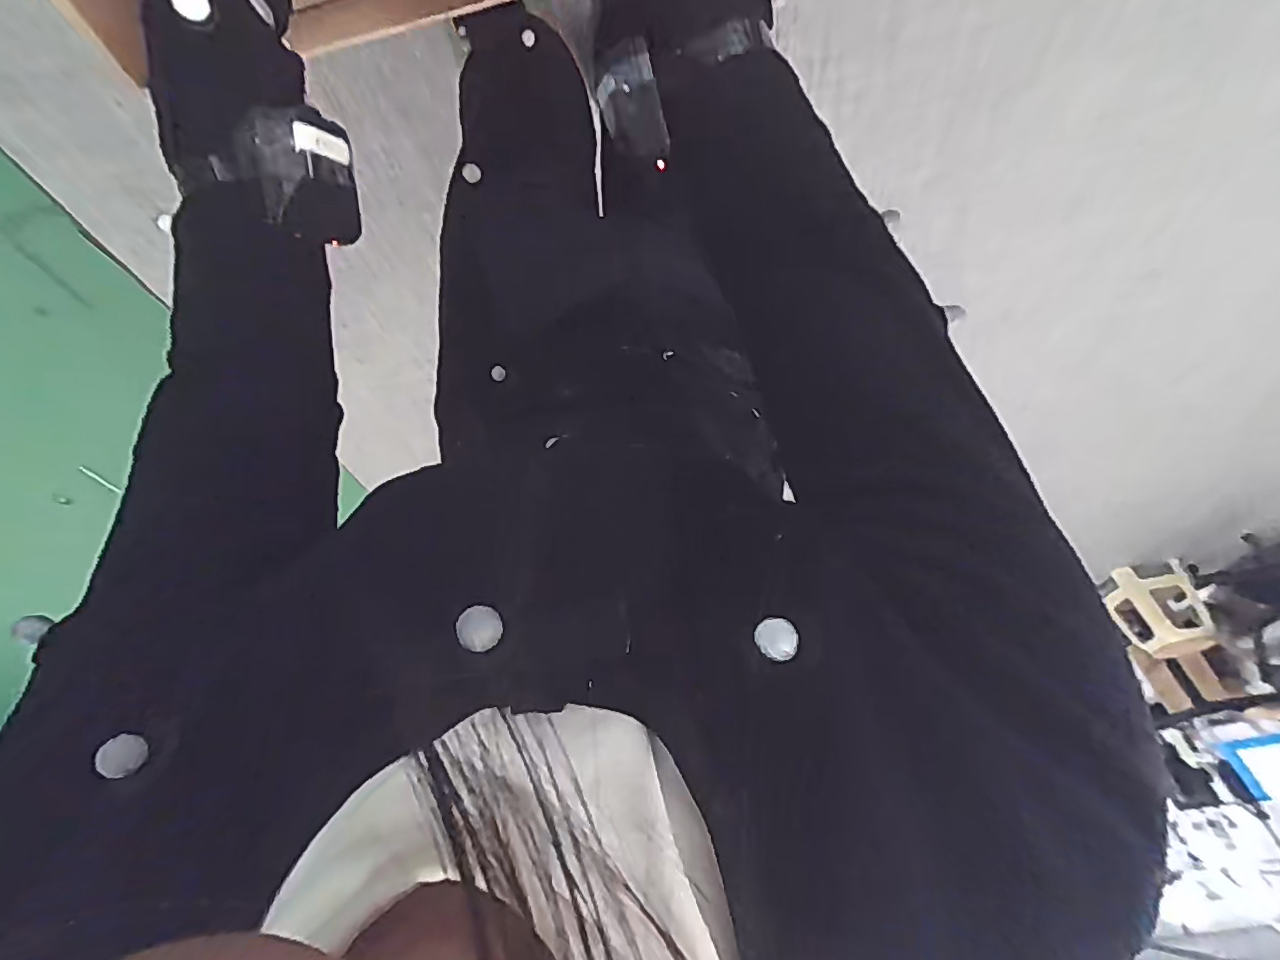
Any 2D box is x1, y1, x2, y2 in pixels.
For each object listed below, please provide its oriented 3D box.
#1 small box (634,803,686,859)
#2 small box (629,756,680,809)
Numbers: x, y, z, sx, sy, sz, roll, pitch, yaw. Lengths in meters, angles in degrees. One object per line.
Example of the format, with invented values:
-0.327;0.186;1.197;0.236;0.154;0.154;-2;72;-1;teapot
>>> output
0.079;1.381;2.127;0.168;0.176;0.179;-12;143;6;small box
0.061;1.246;2.221;0.168;0.176;0.179;-14;144;7;small box
